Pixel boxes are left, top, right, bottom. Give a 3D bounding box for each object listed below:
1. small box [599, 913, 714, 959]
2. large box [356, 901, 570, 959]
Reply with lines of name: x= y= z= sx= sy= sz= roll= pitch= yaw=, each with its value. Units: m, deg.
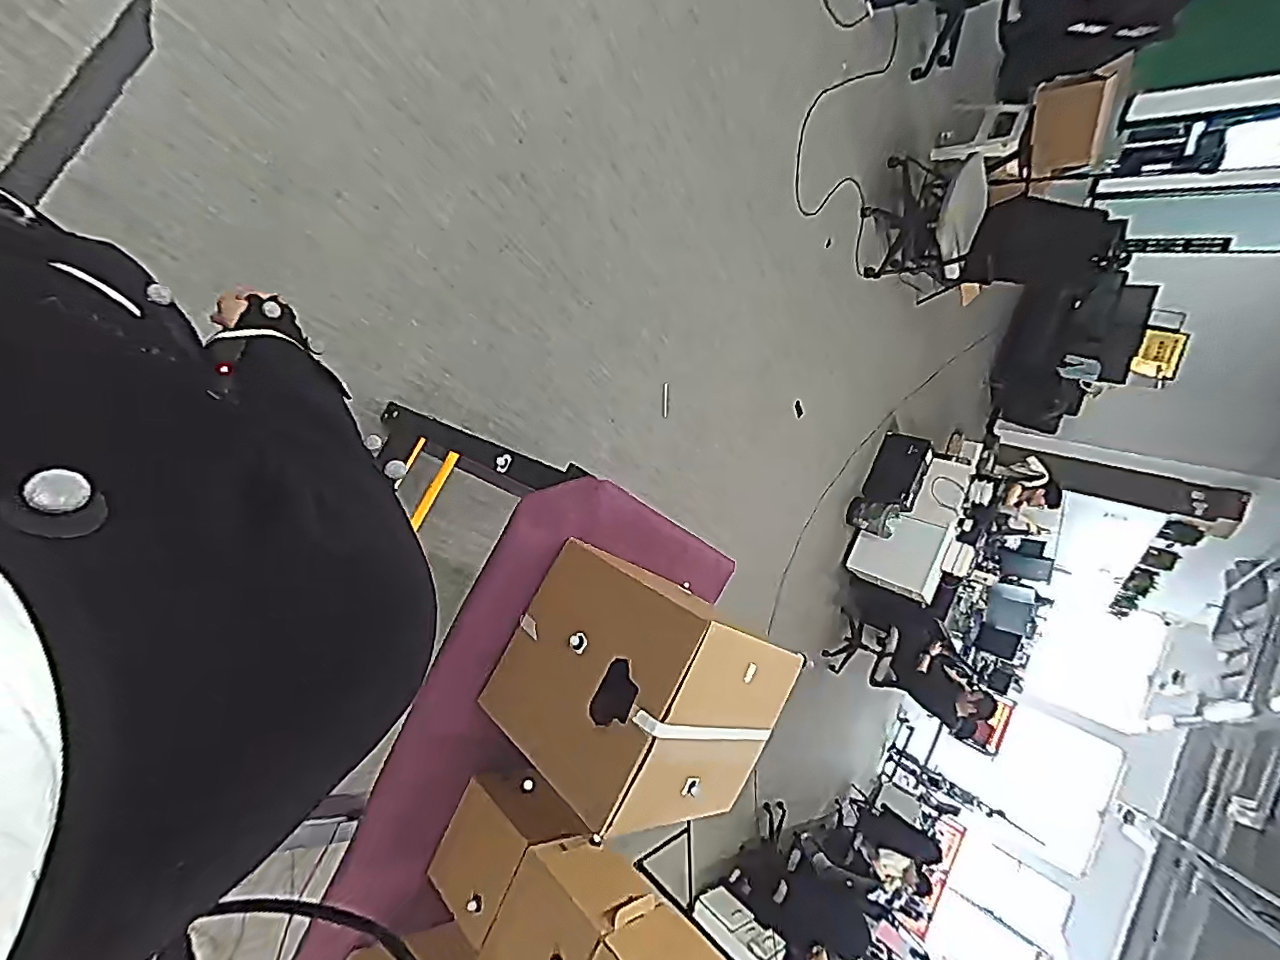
small box: x=0.023 y=0.729 z=0.714 sx=0.179 sy=0.176 sz=0.168 roll=28 pitch=85 yaw=-50
large box: x=-0.302 y=0.970 z=0.856 sx=0.408 sy=0.320 sz=0.320 roll=36 pitch=79 yaw=-51
